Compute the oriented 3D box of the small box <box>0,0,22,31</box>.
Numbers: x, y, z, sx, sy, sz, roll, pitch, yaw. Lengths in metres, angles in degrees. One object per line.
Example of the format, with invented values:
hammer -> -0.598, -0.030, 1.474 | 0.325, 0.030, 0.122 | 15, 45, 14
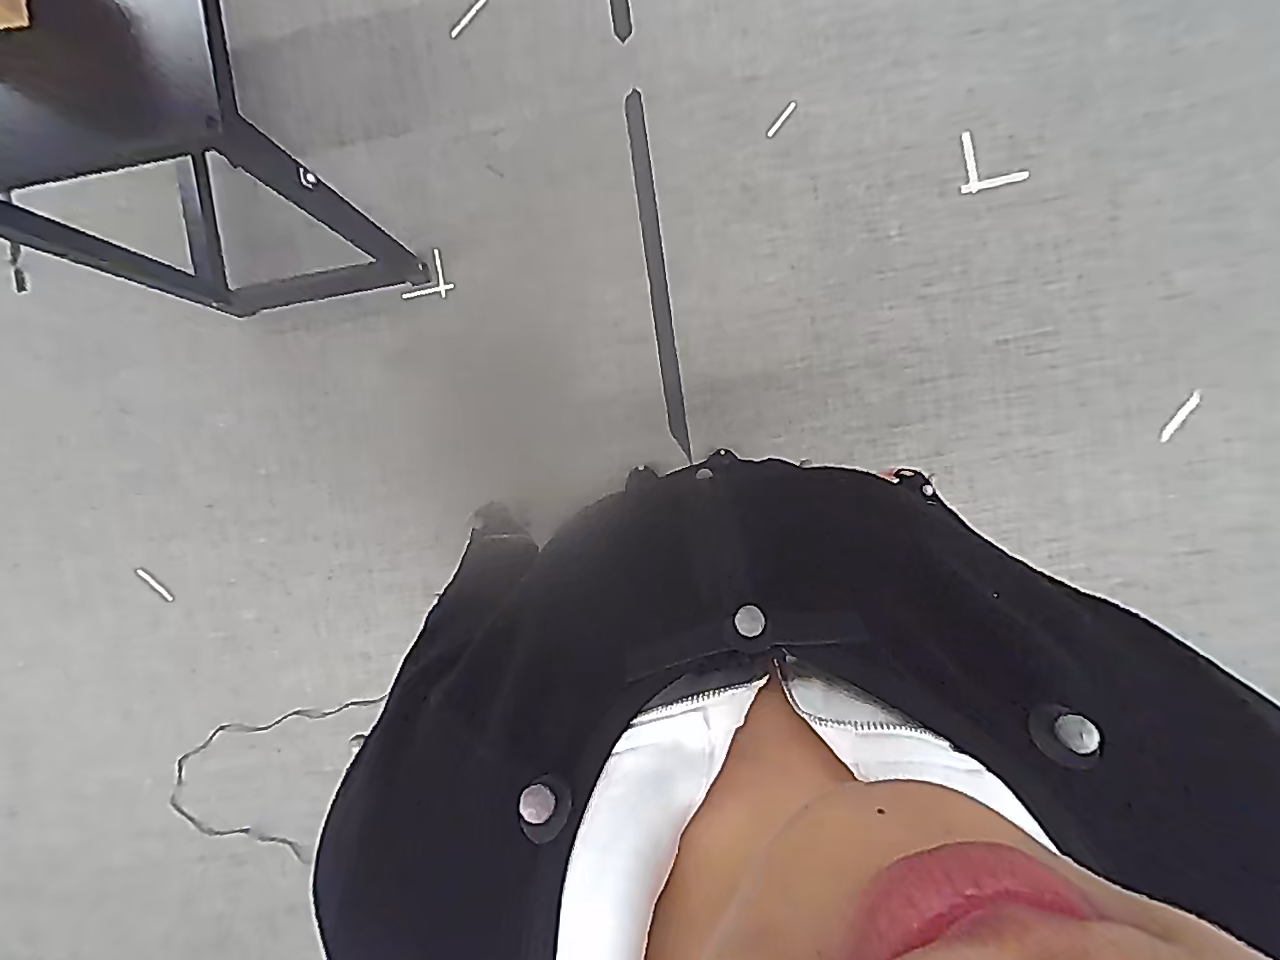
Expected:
small box -> -1.004, -0.746, 0.730 | 0.179, 0.176, 0.168 | -6, 91, 4
